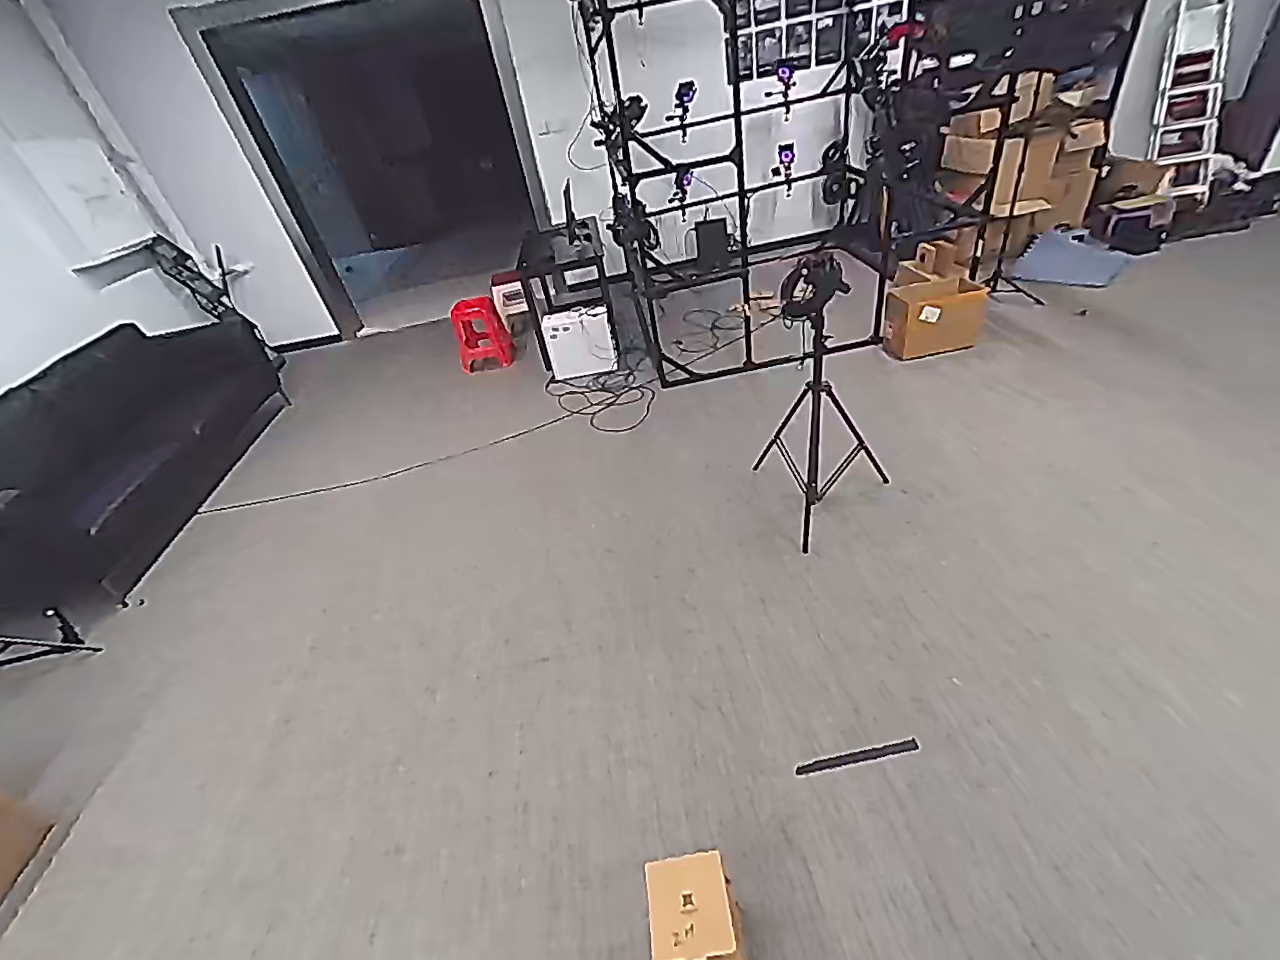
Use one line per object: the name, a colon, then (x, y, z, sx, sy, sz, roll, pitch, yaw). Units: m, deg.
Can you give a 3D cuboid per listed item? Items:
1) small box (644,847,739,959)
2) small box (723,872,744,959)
small box: (0.107, 0.913, 1.136, 0.168, 0.176, 0.179, -12, 37, 3)
small box: (0.143, 1.038, 1.237, 0.168, 0.176, 0.179, -11, 36, 3)
